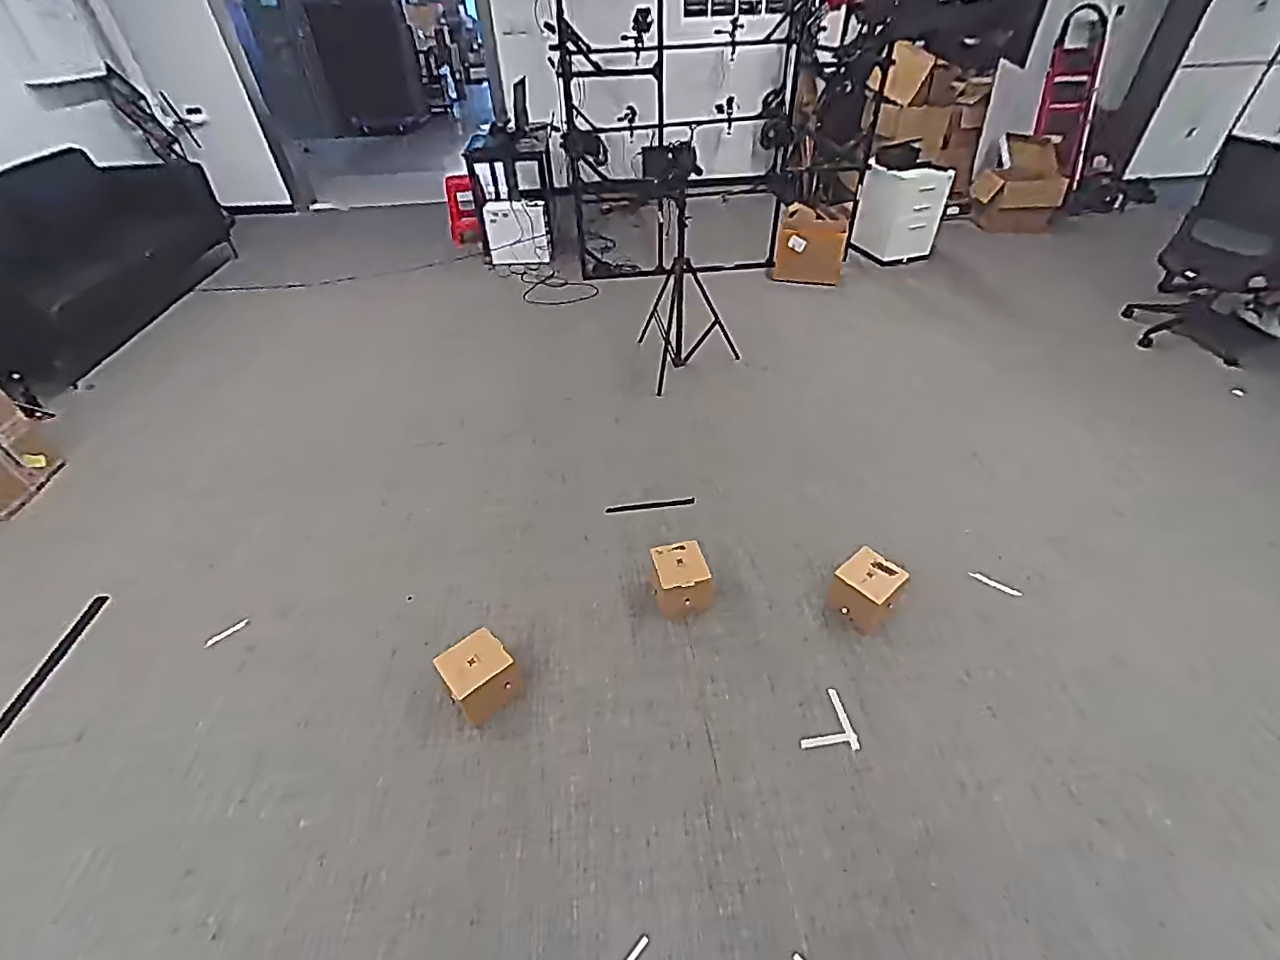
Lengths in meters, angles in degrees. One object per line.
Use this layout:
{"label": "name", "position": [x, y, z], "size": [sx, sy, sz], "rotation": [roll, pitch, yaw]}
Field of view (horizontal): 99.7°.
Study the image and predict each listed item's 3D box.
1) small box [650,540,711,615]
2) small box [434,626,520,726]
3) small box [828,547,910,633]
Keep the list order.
{"label": "small box", "position": [0.133, 0.333, 1.812], "size": [0.168, 0.176, 0.179], "rotation": [-10, 43, -9]}
{"label": "small box", "position": [-0.465, 0.570, 1.573], "size": [0.179, 0.176, 0.168], "rotation": [-33, 48, -29]}
{"label": "small box", "position": [0.737, 0.358, 1.758], "size": [0.179, 0.176, 0.168], "rotation": [-31, 49, -27]}
